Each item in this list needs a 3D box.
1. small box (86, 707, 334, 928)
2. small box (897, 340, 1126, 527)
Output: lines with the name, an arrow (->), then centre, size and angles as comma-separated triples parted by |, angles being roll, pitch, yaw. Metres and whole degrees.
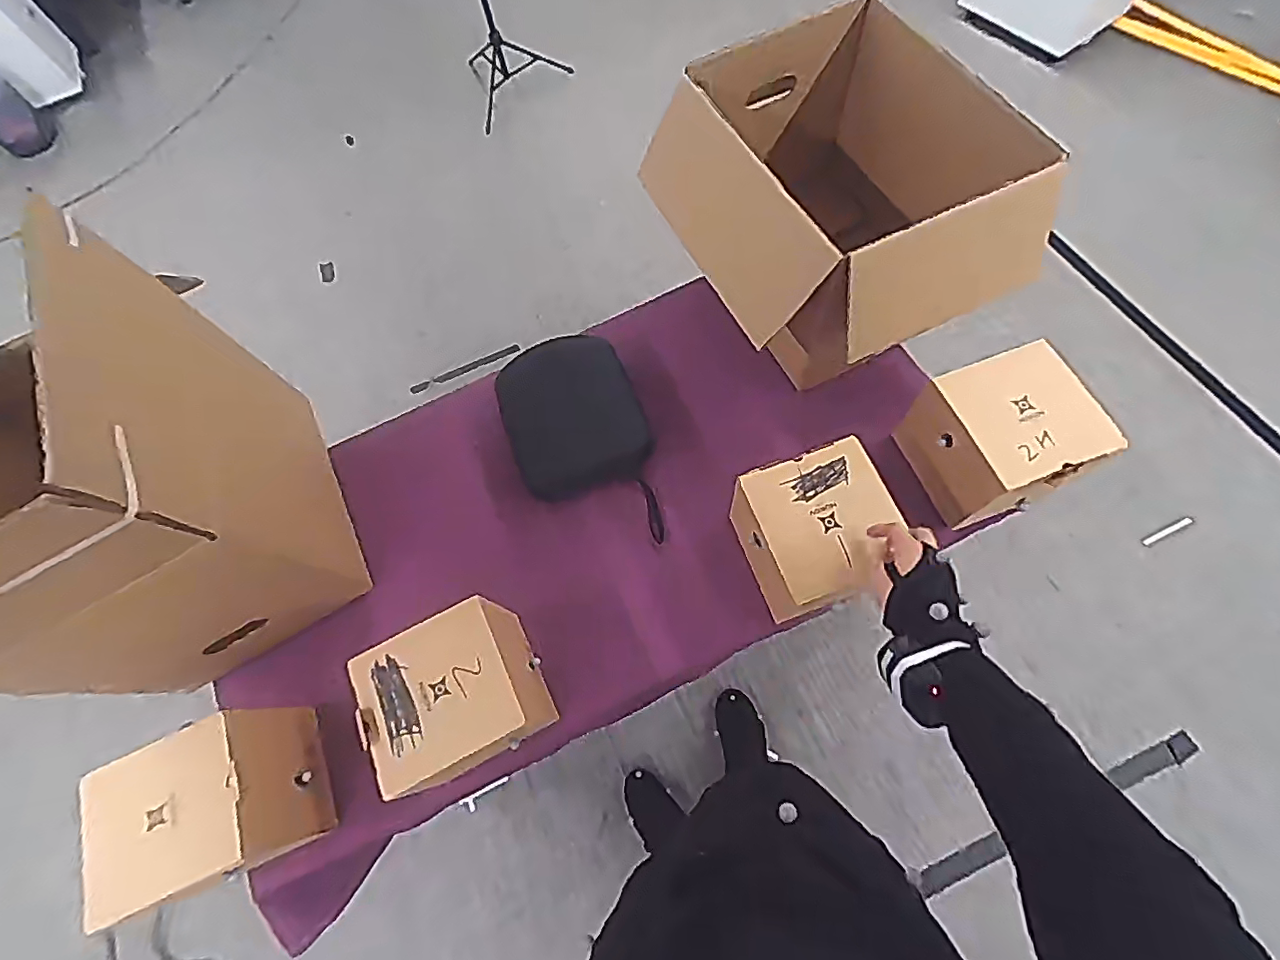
small box -> -0.530, 0.406, 0.682 | 0.179, 0.176, 0.168 | -25, 68, -5
small box -> 0.495, -0.057, 0.757 | 0.168, 0.176, 0.179 | -20, 67, -1
